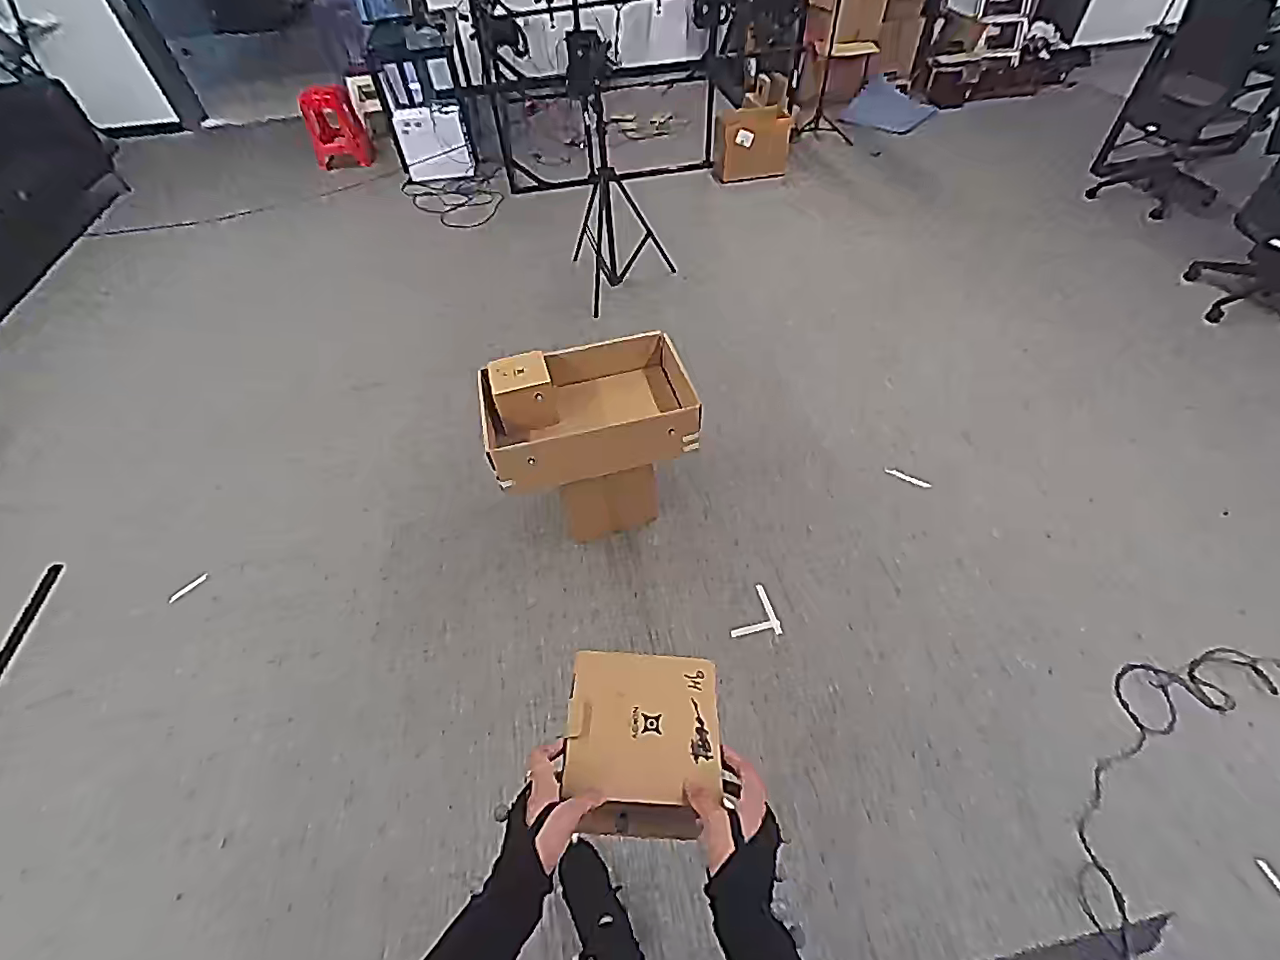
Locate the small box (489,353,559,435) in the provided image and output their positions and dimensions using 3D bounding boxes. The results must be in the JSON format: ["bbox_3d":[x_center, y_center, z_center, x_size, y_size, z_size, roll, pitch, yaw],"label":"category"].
[{"bbox_3d":[-0.356,-0.265,1.683,0.179,0.176,0.168,-15,50,-8],"label":"small box"}]

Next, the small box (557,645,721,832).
[{"bbox_3d":[-0.003,0.326,0.676,0.179,0.176,0.168,5,47,-2],"label":"small box"}]
